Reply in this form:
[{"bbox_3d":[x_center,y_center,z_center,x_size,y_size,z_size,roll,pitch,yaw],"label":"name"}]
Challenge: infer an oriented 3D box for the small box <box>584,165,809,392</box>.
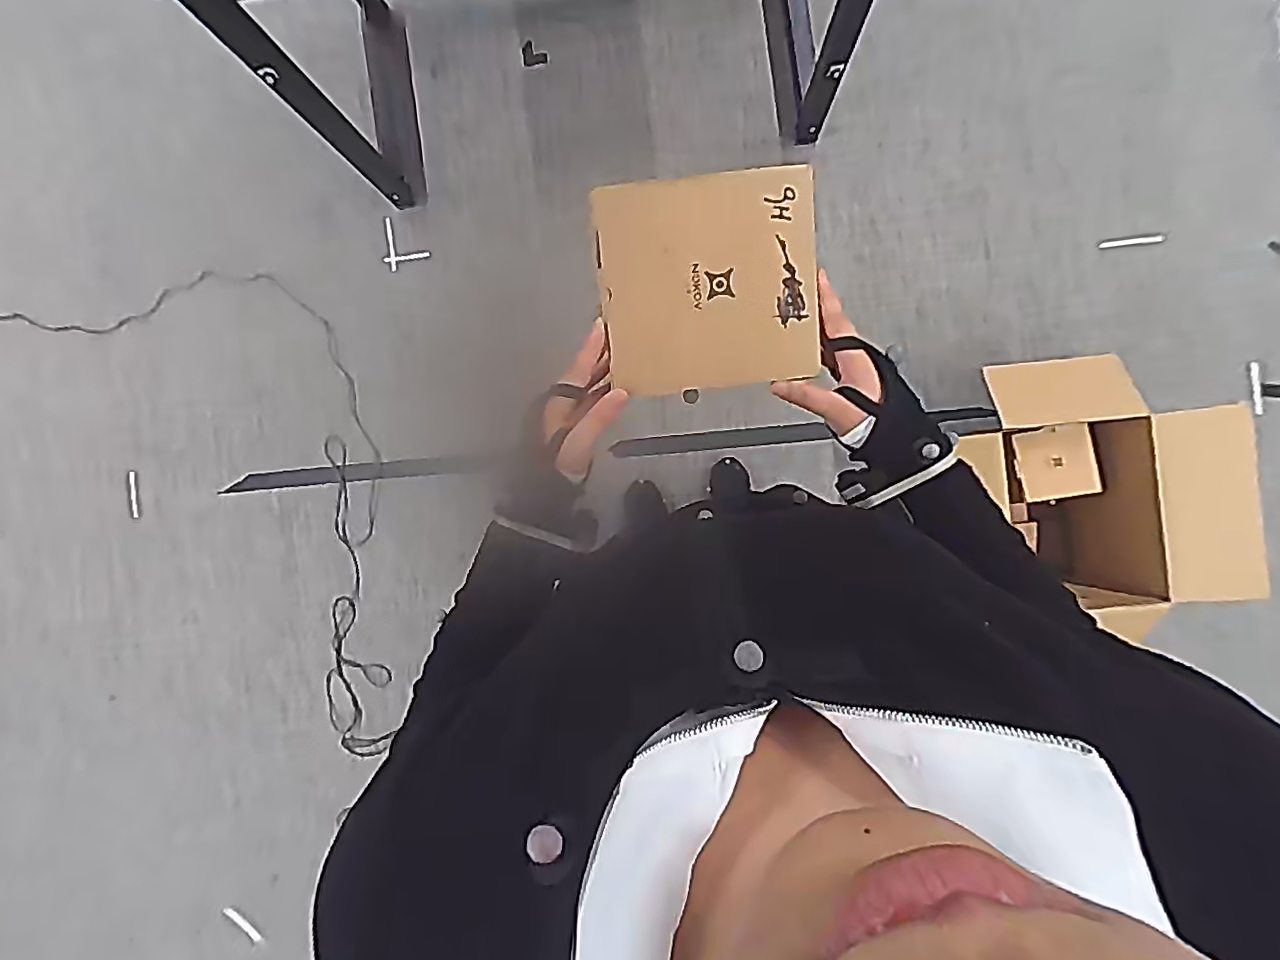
[{"bbox_3d":[0.050,-0.174,0.520,0.179,0.176,0.168,-5,99,2],"label":"small box"}]
